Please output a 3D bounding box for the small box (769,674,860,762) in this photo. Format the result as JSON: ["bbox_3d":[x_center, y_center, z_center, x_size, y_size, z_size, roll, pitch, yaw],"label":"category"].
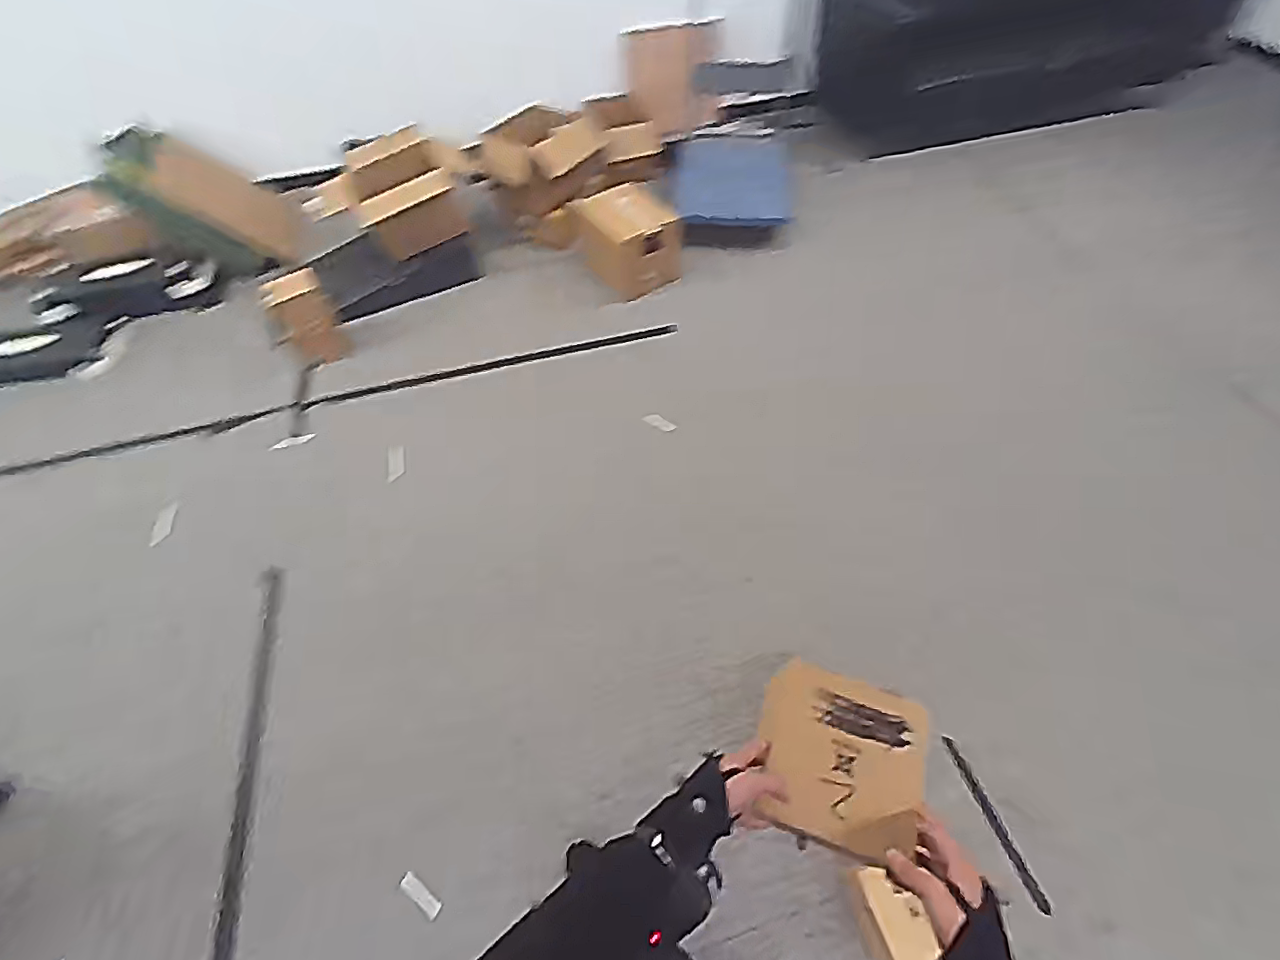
[{"bbox_3d":[0.447,0.626,1.412,0.168,0.176,0.179,-7,54,-2],"label":"small box"}]

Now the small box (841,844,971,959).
[{"bbox_3d":[0.571,0.931,1.192,0.168,0.176,0.179,-15,57,-7],"label":"small box"}]
